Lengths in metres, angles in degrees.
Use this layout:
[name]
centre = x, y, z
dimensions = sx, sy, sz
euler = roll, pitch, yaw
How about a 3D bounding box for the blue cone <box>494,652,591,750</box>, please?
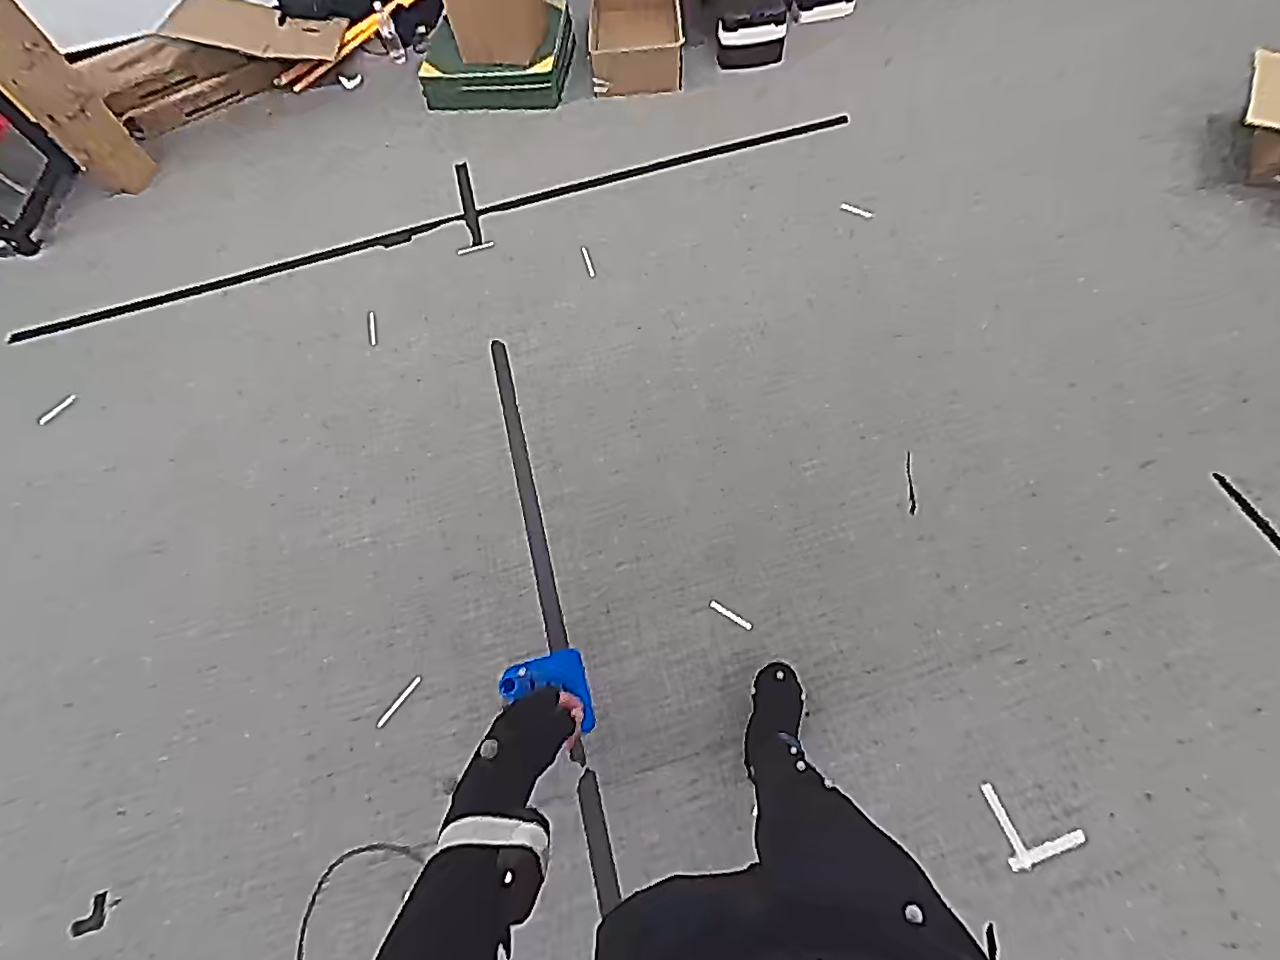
[blue cone]
centre = -0.233, 0.461, 1.151
dimensions = 0.193, 0.380, 0.192
euler = -17, 64, -4
